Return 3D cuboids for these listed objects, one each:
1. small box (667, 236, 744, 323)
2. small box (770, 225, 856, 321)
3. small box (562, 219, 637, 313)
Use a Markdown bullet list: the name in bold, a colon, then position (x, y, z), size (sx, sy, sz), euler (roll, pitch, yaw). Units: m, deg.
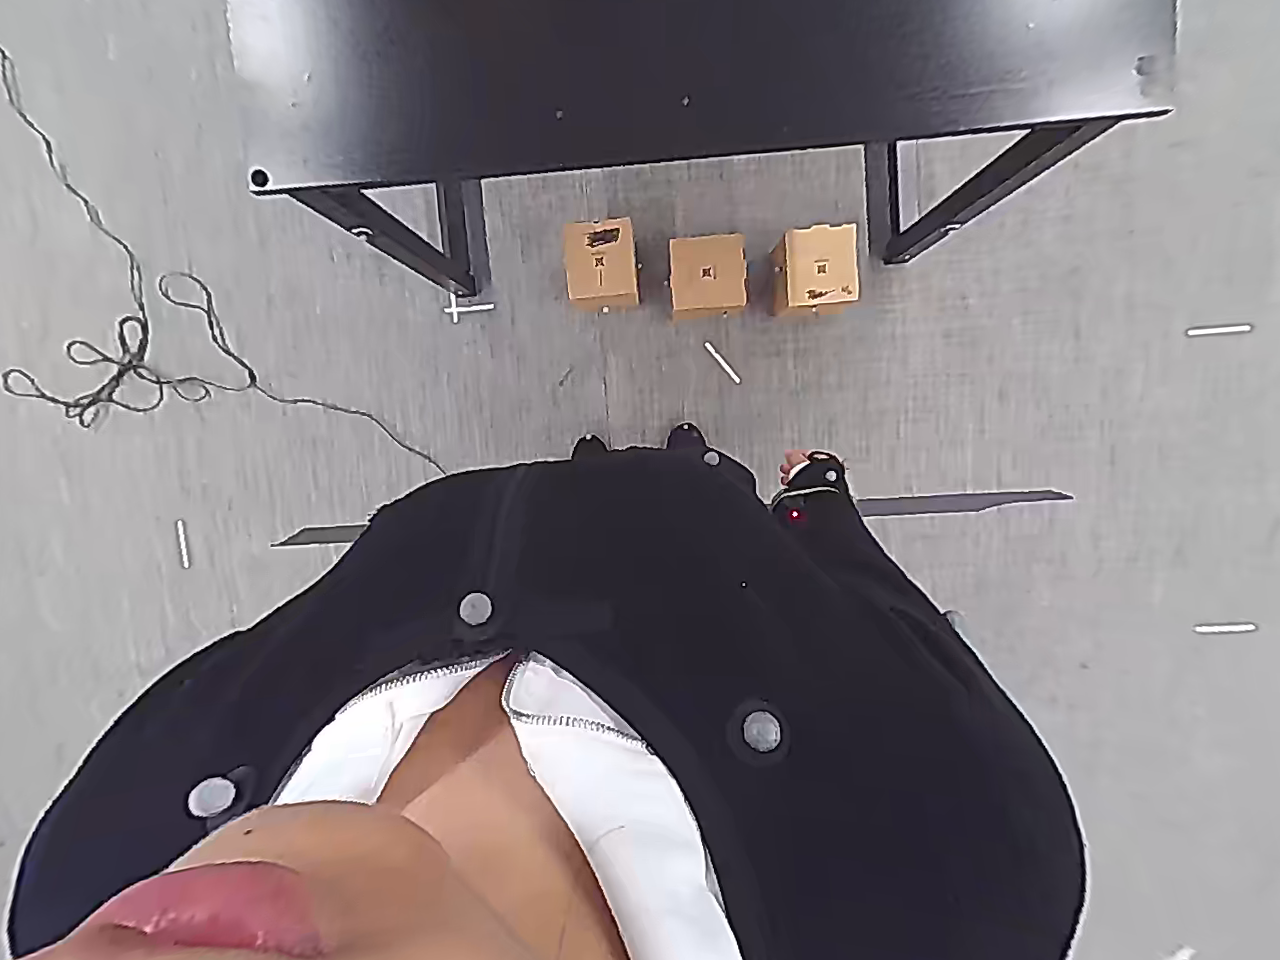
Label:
- **small box**: position (0.159, -0.496, 1.355), size (0.179, 0.176, 0.168), euler (-3, 96, 4)
- **small box**: position (0.421, -0.506, 1.341), size (0.168, 0.176, 0.179), euler (-4, 95, 3)
- **small box**: position (-0.096, -0.531, 1.360), size (0.168, 0.176, 0.179), euler (-4, 97, 3)
